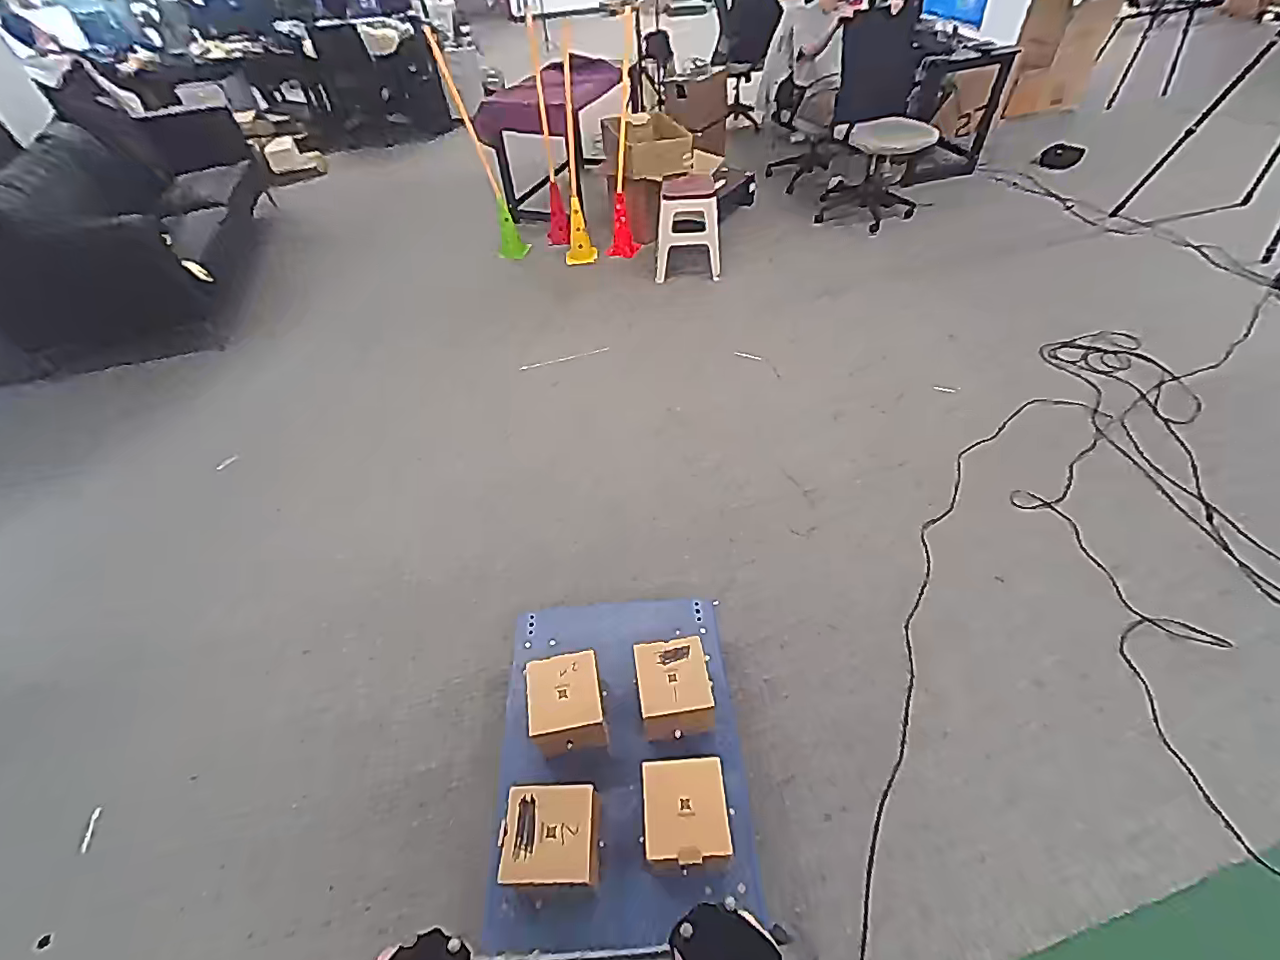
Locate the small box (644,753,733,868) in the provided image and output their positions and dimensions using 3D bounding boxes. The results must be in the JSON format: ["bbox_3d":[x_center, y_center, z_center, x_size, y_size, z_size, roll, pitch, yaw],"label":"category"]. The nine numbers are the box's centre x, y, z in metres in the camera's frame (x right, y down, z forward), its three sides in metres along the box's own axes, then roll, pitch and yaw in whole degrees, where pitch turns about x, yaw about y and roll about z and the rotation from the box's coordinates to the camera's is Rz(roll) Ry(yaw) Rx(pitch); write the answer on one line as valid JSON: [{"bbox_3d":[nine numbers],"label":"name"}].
[{"bbox_3d":[0.095,0.699,1.143,0.168,0.176,0.179,-4,48,0],"label":"small box"}]

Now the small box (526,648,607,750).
[{"bbox_3d":[-0.176,0.535,1.309,0.168,0.176,0.179,-9,48,-6],"label":"small box"}]

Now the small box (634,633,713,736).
[{"bbox_3d":[0.077,0.501,1.323,0.168,0.176,0.179,-8,48,-3],"label":"small box"}]
